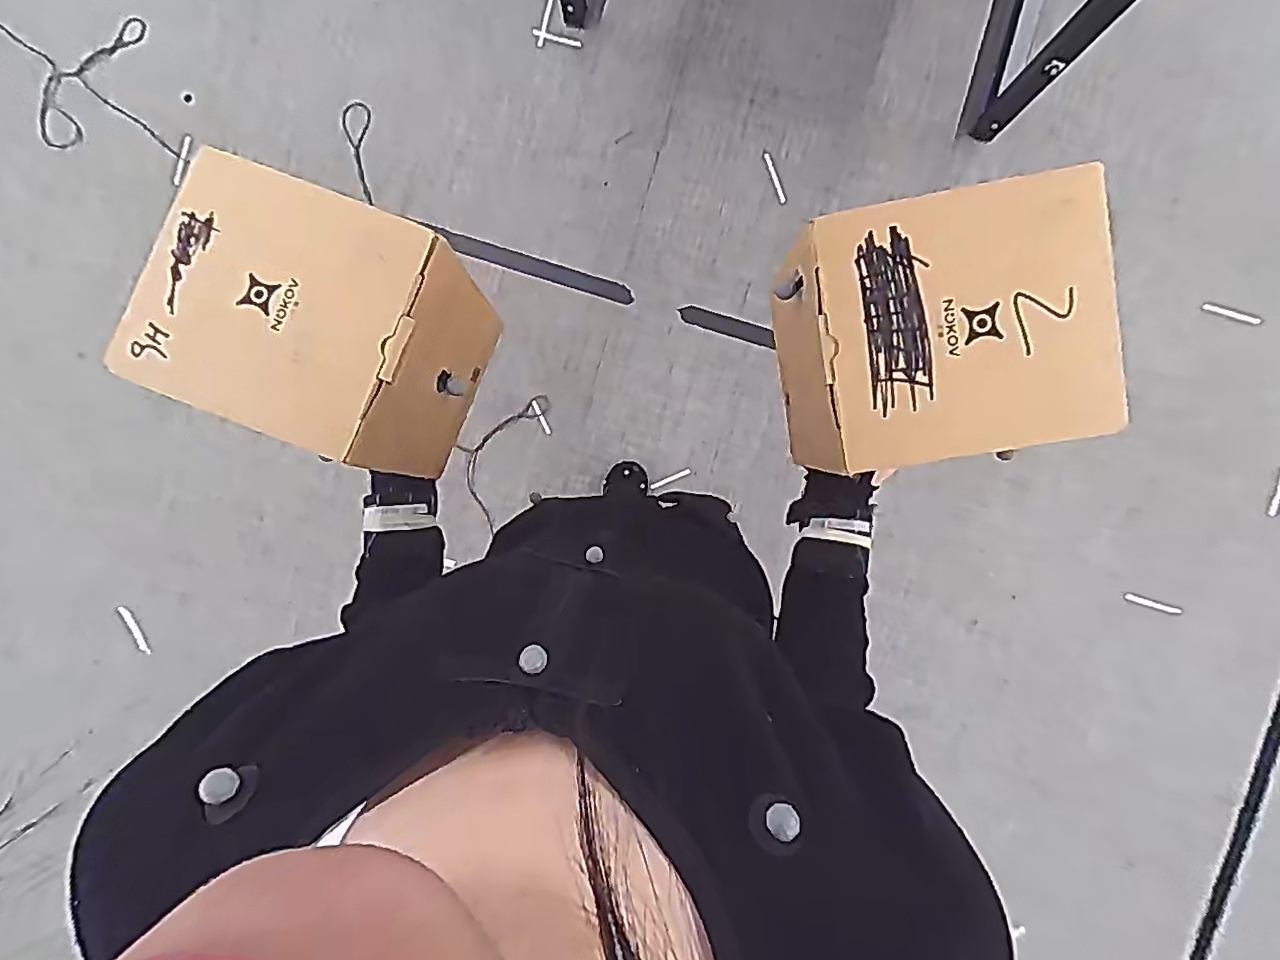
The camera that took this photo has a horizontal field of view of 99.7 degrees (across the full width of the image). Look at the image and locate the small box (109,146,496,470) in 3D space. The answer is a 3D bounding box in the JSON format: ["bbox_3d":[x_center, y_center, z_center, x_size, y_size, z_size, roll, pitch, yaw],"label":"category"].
[{"bbox_3d":[-0.237,-0.112,0.434,0.179,0.176,0.168,21,86,0],"label":"small box"}]
